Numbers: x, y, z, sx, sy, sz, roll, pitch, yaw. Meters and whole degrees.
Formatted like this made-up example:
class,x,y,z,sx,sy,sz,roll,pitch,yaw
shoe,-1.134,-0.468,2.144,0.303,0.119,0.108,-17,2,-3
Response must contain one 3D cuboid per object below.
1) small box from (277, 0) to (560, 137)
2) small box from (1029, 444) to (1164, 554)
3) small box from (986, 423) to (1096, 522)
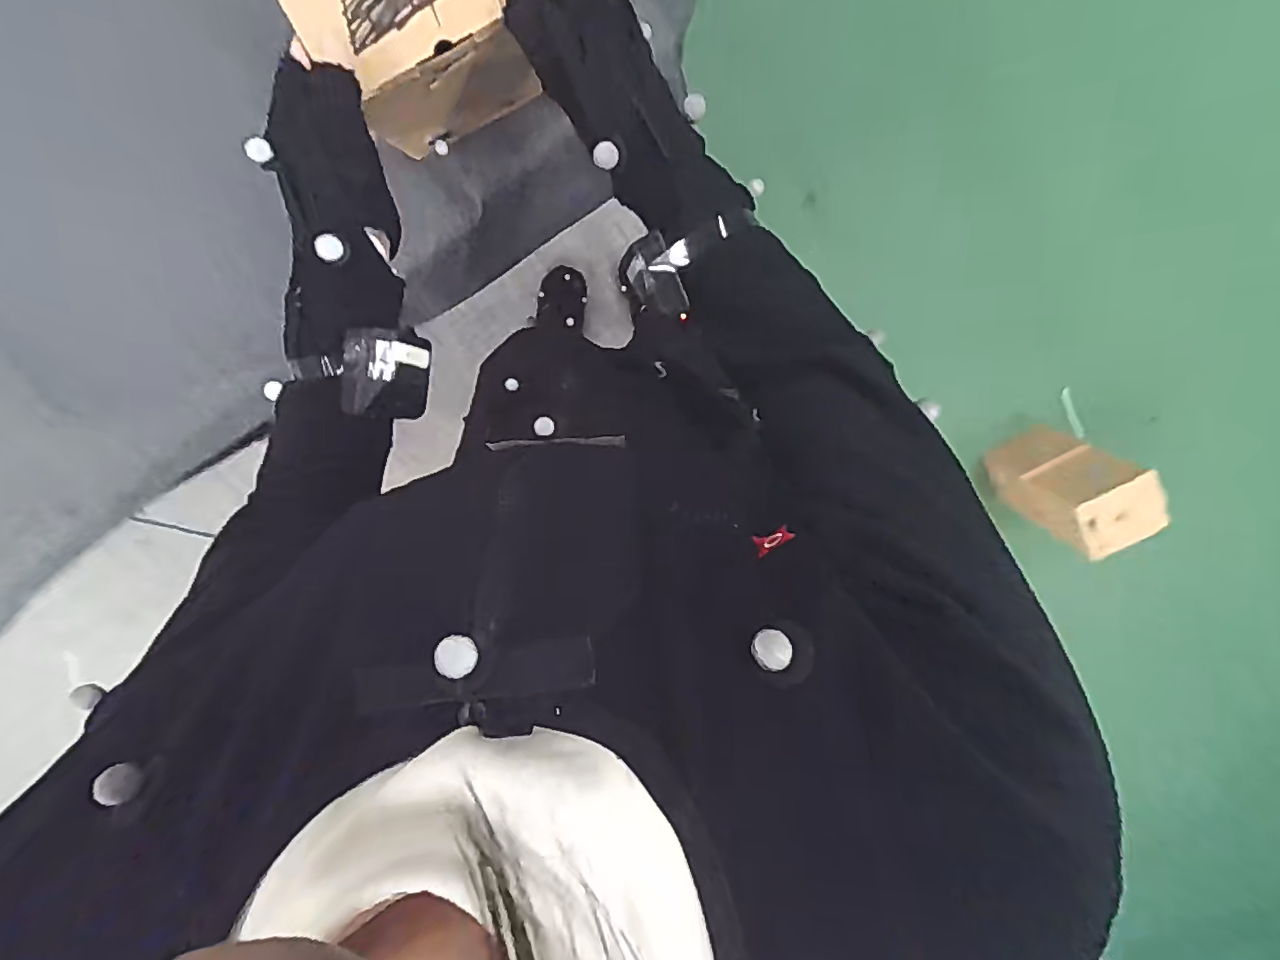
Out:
class,x,y,z,sx,sy,sz,roll,pitch,yaw
small box,-0.169,-0.384,0.399,0.168,0.176,0.179,-24,111,4
small box,1.071,0.036,1.285,0.179,0.176,0.168,-31,110,10
small box,1.057,-0.026,1.416,0.179,0.176,0.168,-28,110,10
